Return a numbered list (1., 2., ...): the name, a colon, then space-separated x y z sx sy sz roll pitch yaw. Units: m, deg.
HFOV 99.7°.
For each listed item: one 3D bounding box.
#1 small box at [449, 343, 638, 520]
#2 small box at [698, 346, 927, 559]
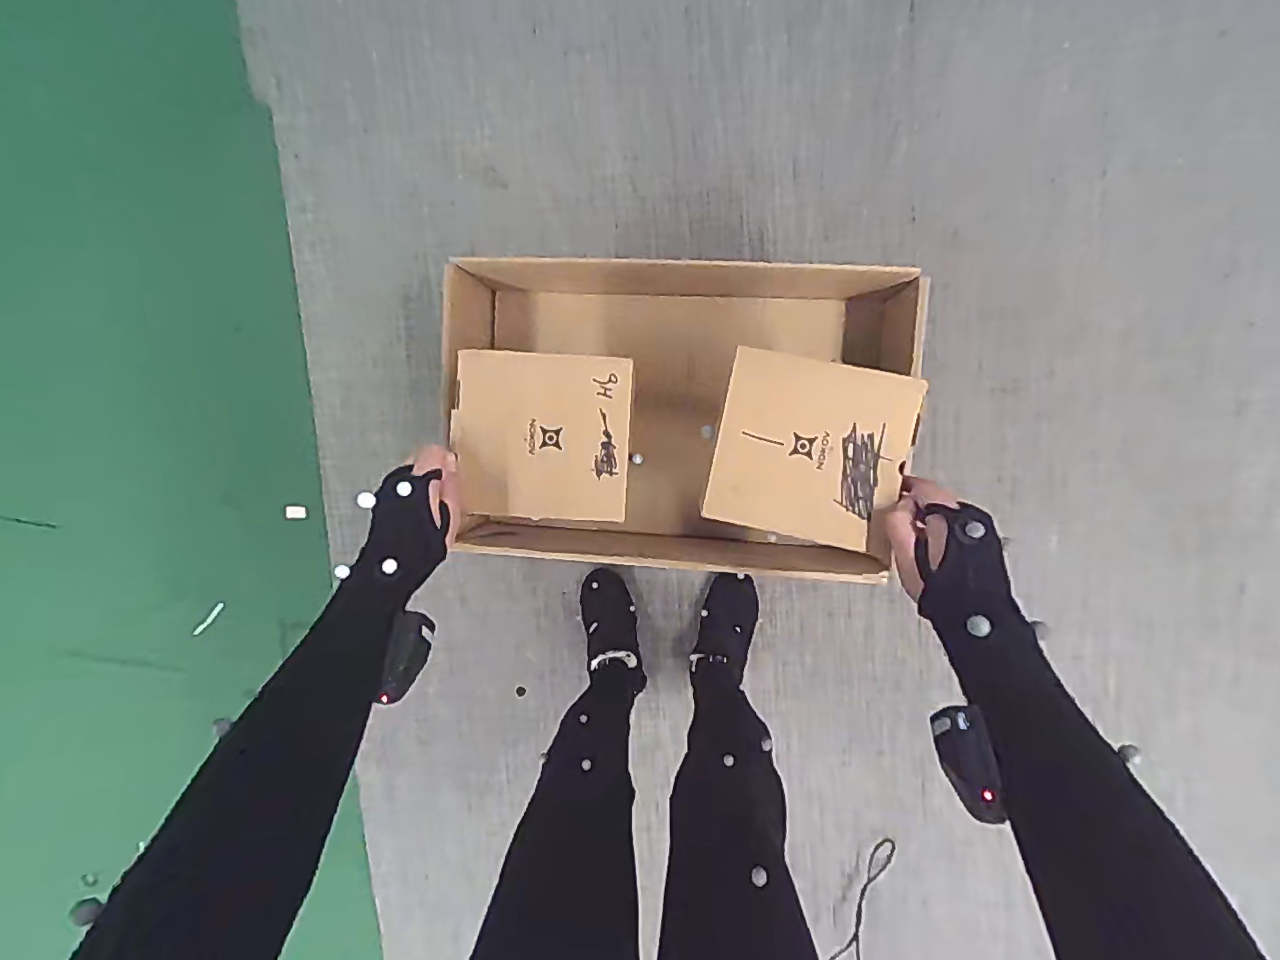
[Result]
1. small box: -0.096 -0.051 0.613 0.179 0.176 0.168 4 94 0
2. small box: 0.163 -0.027 0.571 0.179 0.176 0.168 13 91 6
